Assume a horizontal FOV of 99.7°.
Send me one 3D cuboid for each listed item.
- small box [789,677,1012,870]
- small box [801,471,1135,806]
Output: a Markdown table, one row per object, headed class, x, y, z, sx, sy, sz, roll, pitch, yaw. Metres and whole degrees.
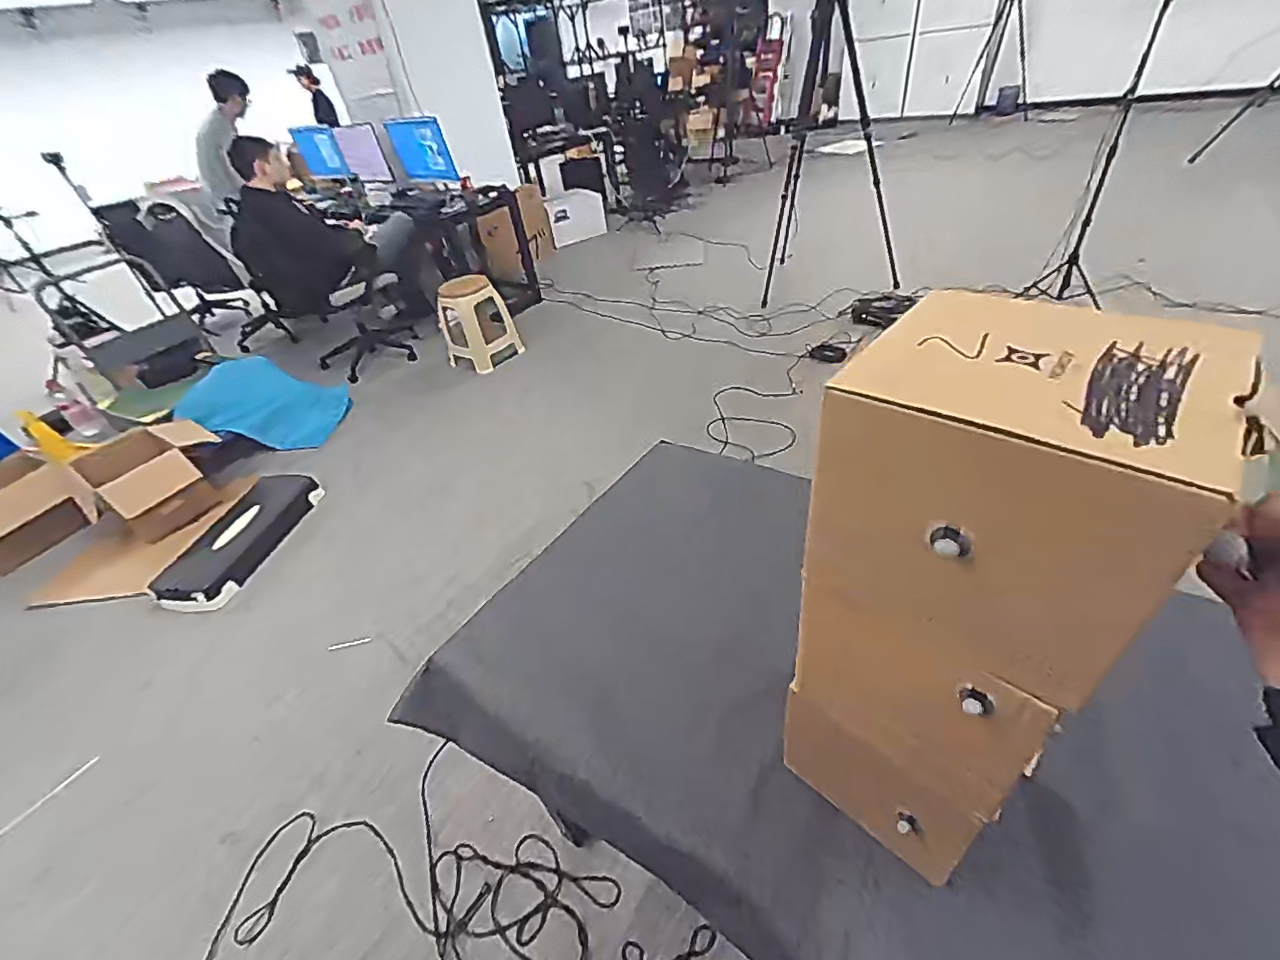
| class | x | y | z | sx | sy | sz | roll | pitch | yaw |
| --- | --- | --- | --- | --- | --- | --- | --- | --- | --- |
| small box | 0.272 | 0.254 | 0.553 | 0.179 | 0.176 | 0.168 | 27 | 50 | 38 |
| small box | 0.254 | 0.126 | 0.455 | 0.179 | 0.176 | 0.168 | 28 | 51 | 37 |
